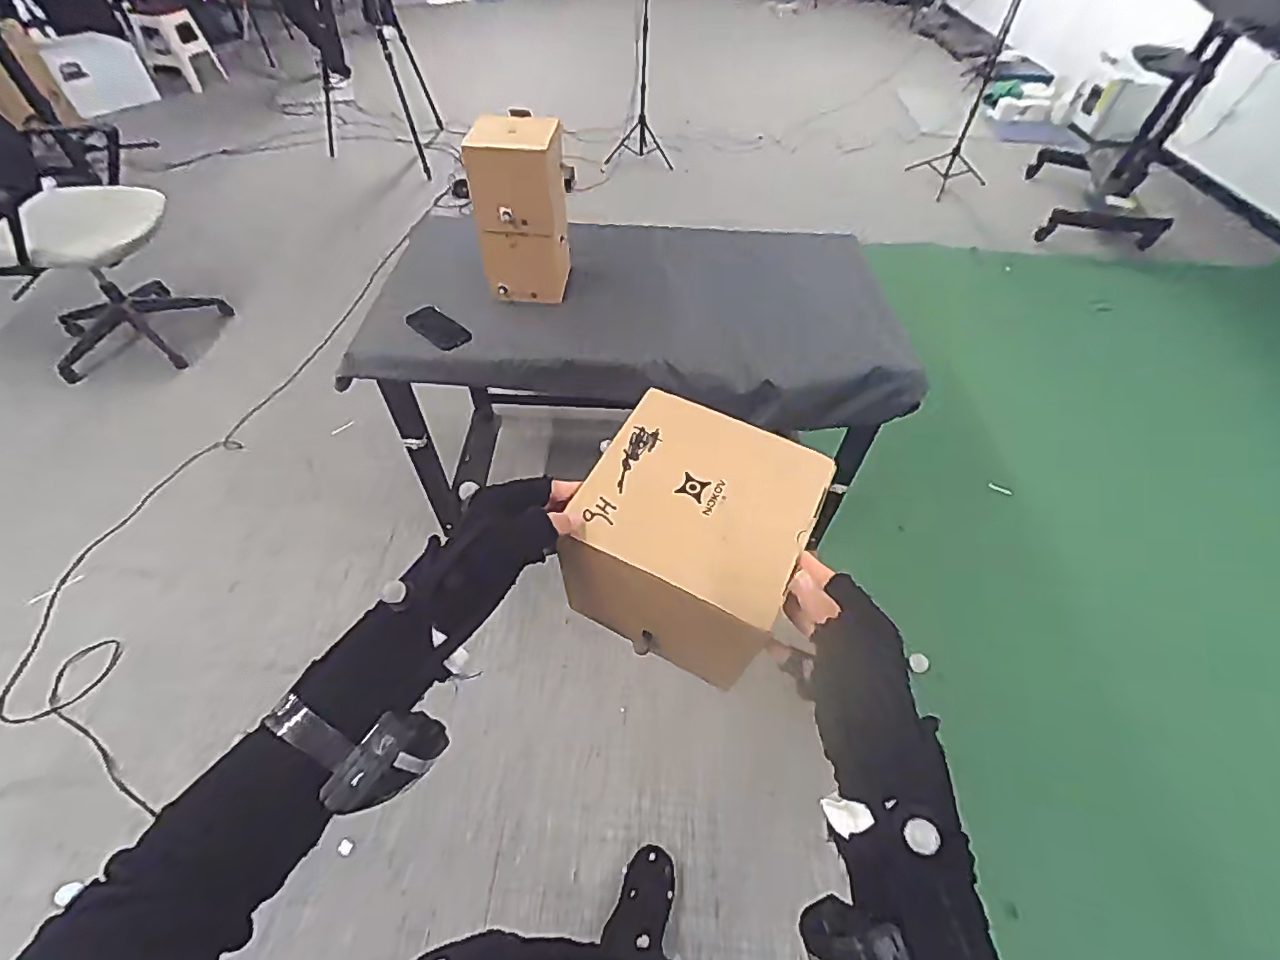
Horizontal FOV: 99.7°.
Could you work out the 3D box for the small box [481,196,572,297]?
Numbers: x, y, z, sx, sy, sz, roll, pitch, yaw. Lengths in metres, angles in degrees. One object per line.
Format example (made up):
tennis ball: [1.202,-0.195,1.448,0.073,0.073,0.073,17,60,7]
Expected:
small box: [-0.252,-0.544,1.251,0.168,0.176,0.179,4,50,0]

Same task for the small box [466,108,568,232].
small box: [-0.244,-0.642,1.122,0.168,0.176,0.179,3,52,0]

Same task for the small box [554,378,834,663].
small box: [0.043,0.046,0.493,0.179,0.176,0.168,26,58,13]
